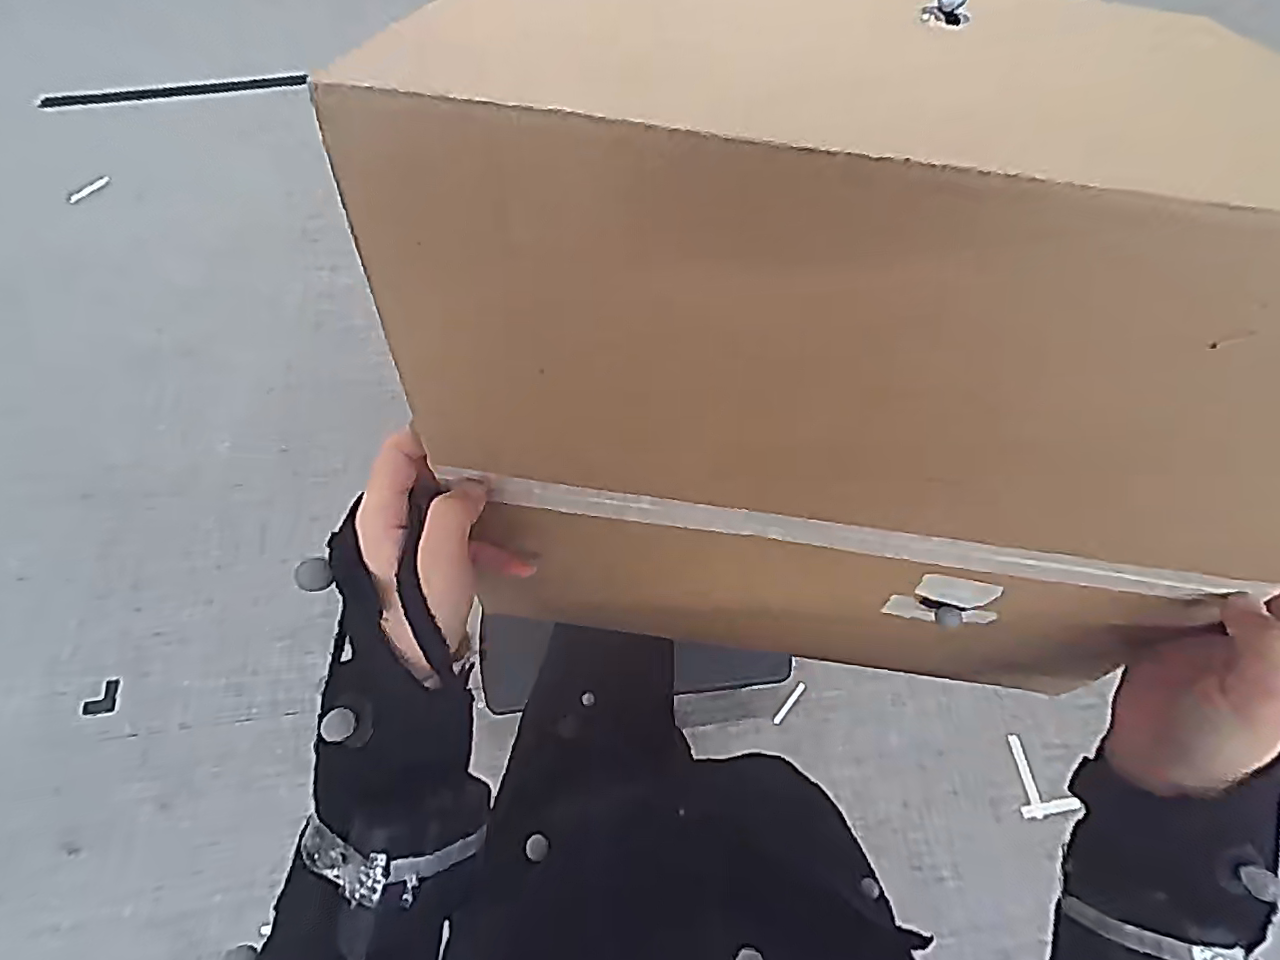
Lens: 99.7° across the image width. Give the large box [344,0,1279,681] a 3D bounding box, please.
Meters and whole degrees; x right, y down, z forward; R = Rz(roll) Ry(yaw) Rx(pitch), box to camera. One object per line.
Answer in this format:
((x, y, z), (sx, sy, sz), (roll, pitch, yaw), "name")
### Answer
((0.112, -0.091, 0.361), (0.408, 0.320, 0.320), (7, 52, 0), "large box")
